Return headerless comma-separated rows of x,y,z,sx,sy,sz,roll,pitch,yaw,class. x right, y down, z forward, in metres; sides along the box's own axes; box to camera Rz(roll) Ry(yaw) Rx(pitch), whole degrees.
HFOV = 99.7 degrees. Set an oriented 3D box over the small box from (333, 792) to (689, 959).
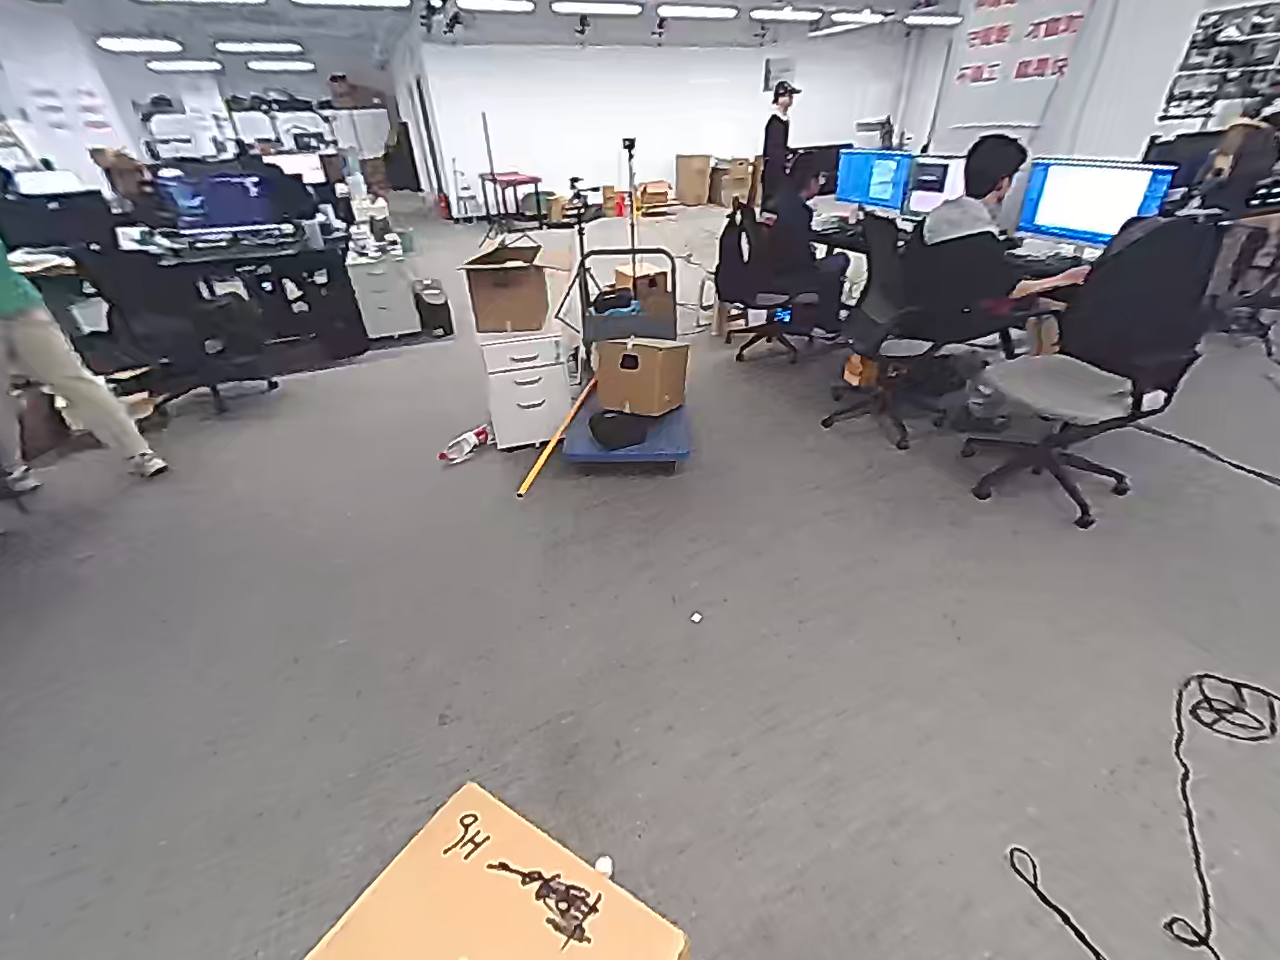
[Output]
-0.075,0.330,0.296,0.168,0.176,0.179,13,36,31,small box
